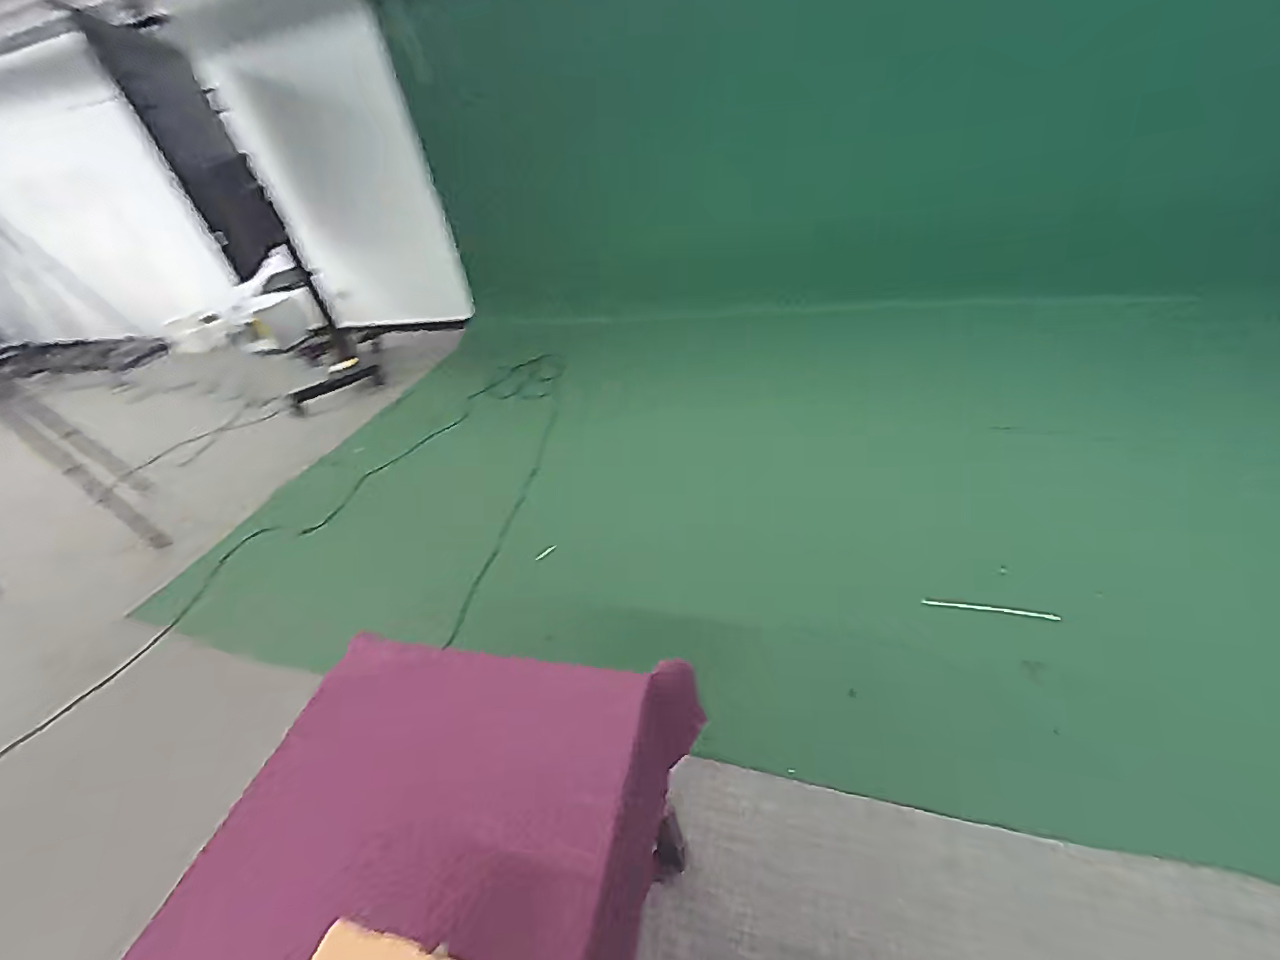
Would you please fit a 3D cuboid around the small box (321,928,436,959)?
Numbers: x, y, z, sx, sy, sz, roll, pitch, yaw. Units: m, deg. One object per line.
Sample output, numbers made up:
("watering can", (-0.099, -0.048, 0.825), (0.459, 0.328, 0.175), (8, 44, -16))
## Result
("small box", (-0.244, 0.581, 0.517), (0.168, 0.176, 0.179), (1, 38, 18))
